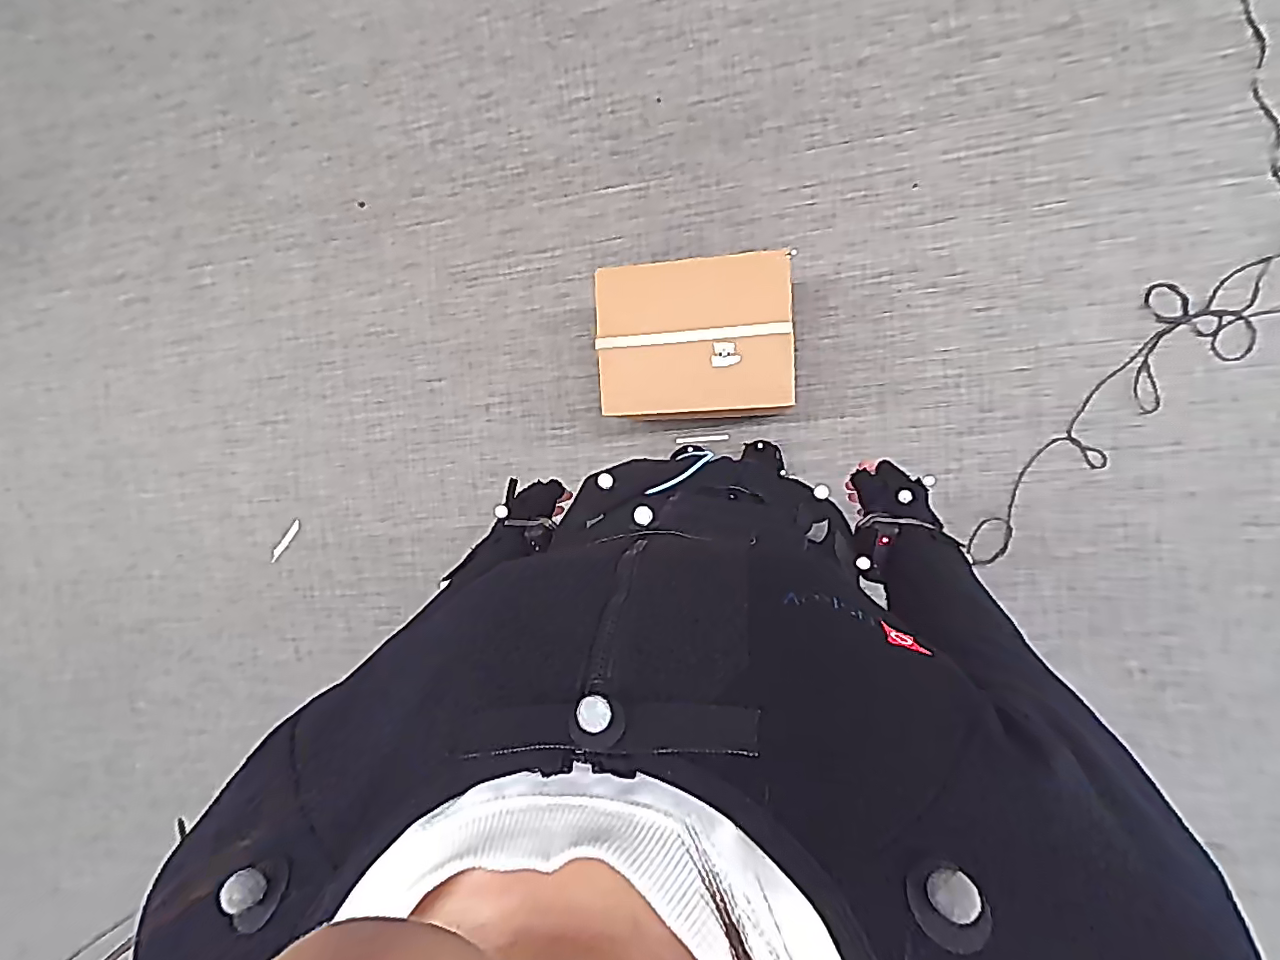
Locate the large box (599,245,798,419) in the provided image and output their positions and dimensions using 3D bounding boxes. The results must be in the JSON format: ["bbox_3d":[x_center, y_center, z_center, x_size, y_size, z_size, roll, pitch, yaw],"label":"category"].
[{"bbox_3d":[0.141,-0.317,1.267,0.408,0.320,0.320,-2,94,10],"label":"large box"}]
